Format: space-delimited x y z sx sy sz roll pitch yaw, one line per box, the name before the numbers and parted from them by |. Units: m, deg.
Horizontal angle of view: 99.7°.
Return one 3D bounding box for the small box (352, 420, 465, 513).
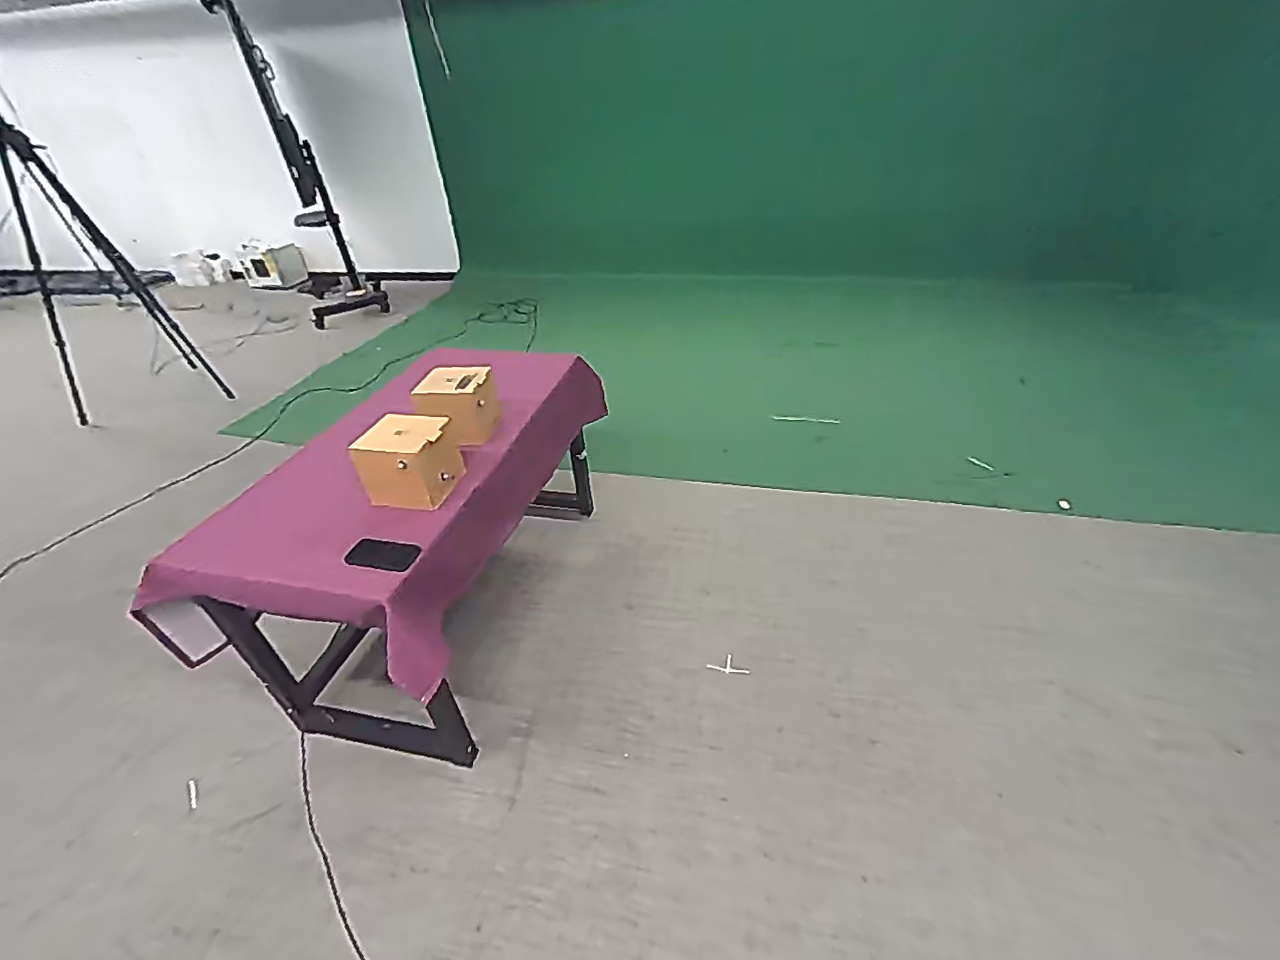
small box | -0.563 -0.033 1.340 0.179 0.176 0.168 5 37 11
